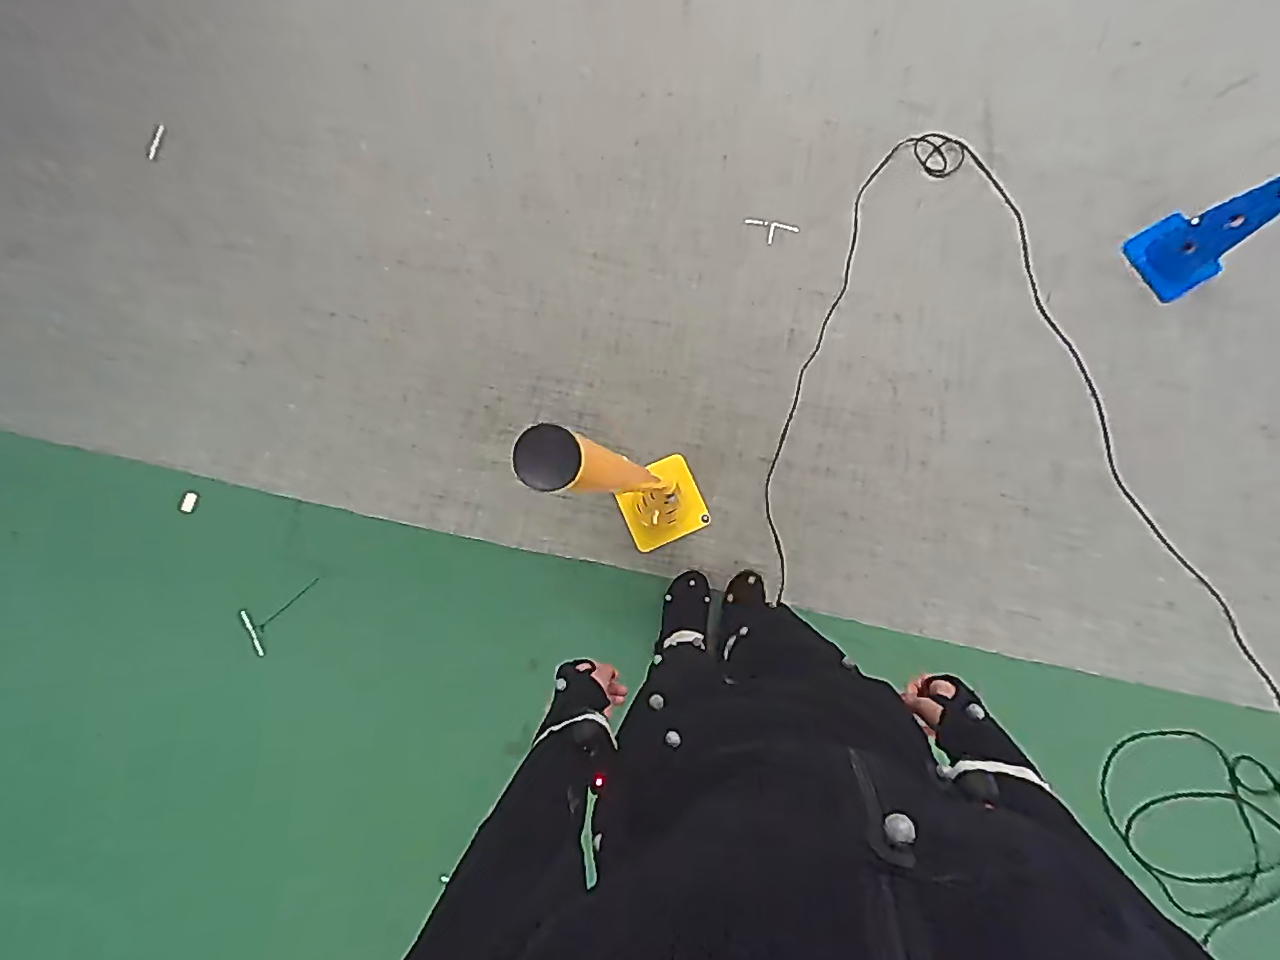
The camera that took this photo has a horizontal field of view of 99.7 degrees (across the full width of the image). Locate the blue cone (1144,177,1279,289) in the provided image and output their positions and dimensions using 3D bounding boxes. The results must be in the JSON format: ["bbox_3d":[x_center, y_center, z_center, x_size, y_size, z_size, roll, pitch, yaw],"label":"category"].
[{"bbox_3d":[1.423,-0.636,1.240,0.193,0.380,0.192,-32,82,-5],"label":"blue cone"}]
